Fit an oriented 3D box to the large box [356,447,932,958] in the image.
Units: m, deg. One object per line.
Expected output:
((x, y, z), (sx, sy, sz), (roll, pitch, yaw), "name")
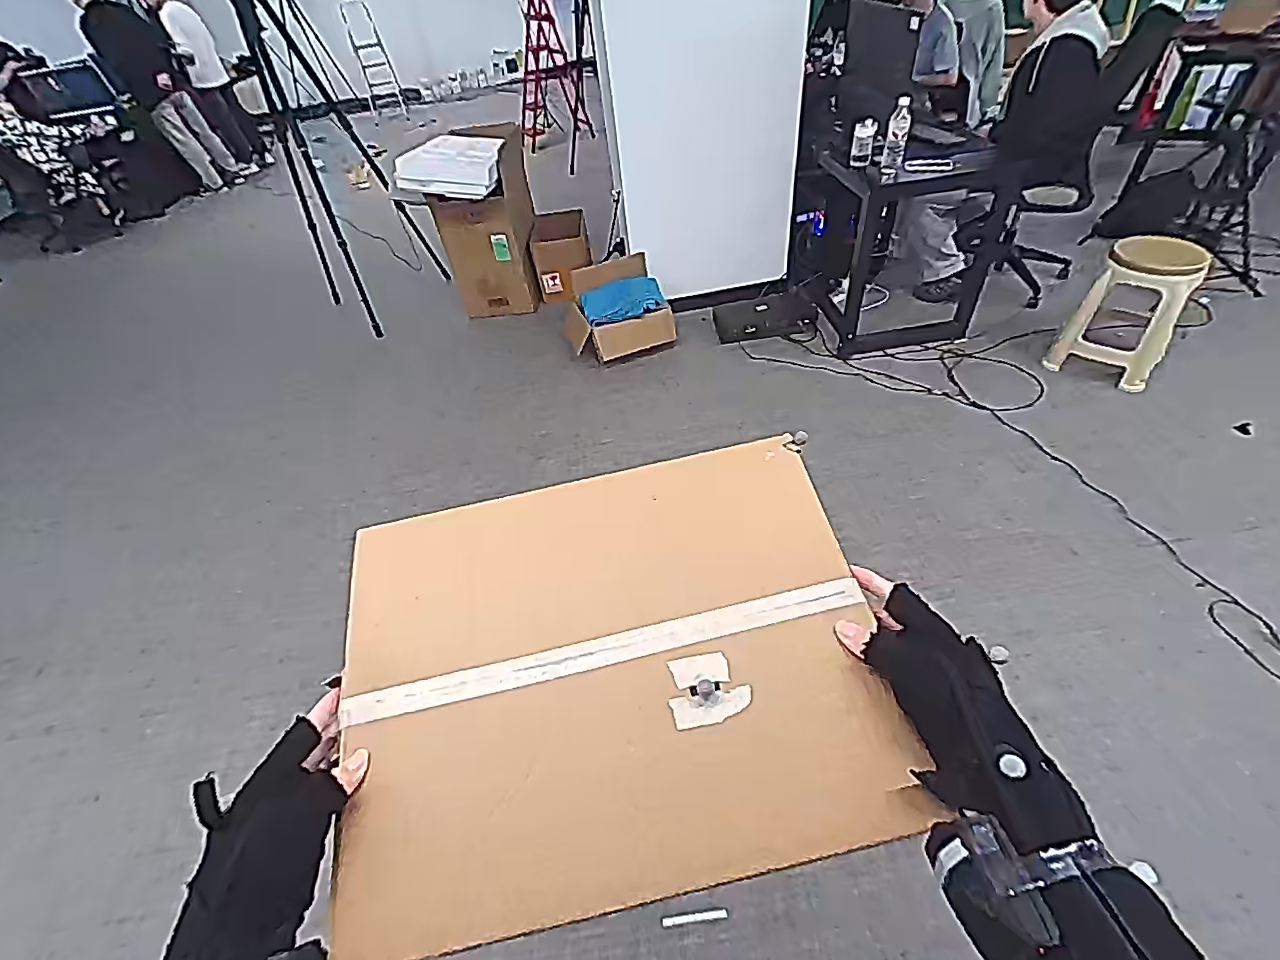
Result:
((-0.013, 0.215, 0.560), (0.408, 0.320, 0.320), (-13, 59, -2), "large box")
